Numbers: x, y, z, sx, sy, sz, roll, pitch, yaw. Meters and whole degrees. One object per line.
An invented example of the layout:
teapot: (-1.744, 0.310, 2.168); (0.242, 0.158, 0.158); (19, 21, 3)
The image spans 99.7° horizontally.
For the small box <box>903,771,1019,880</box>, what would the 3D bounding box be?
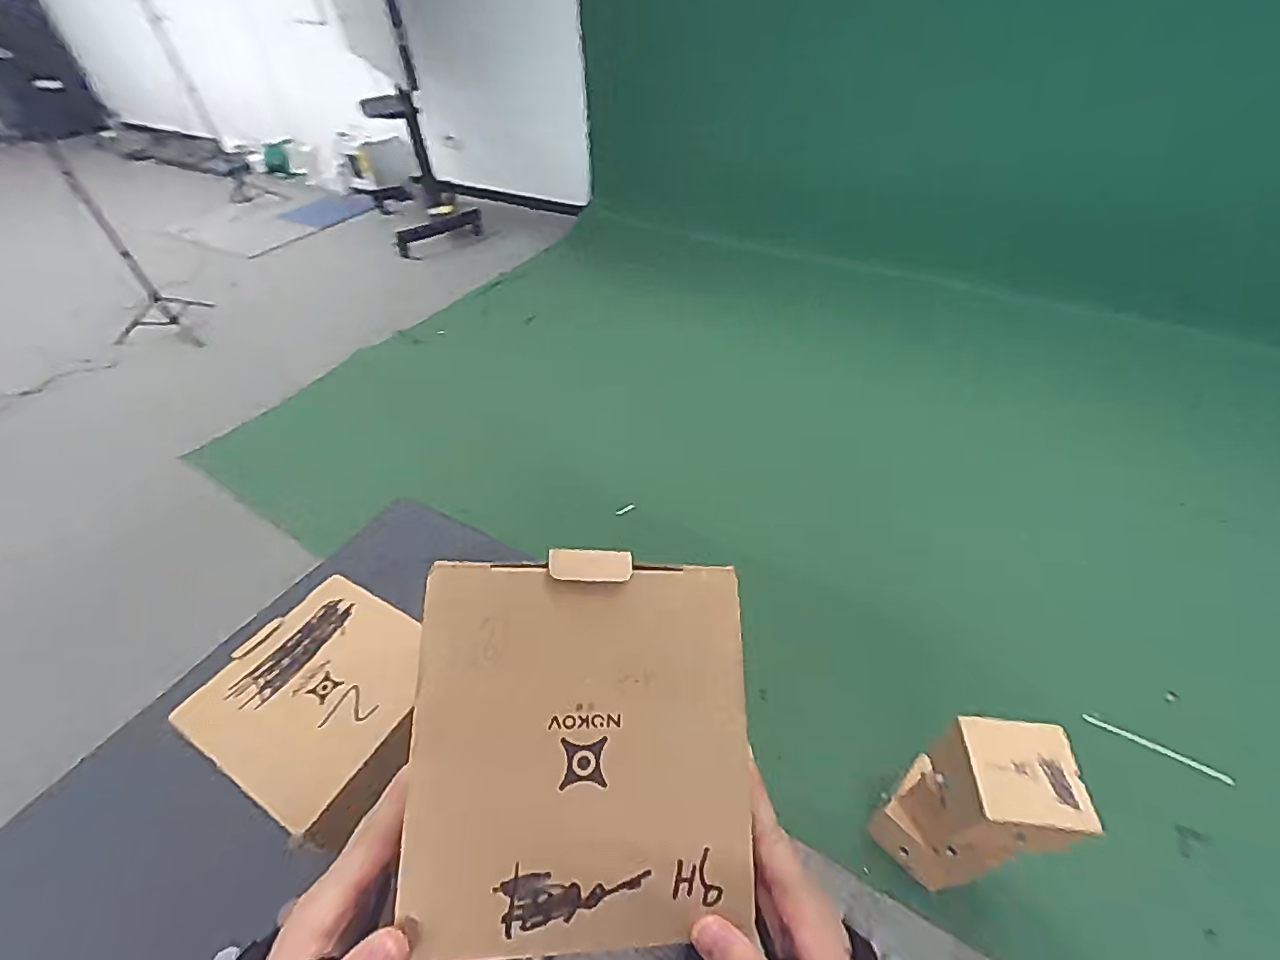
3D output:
small box: (0.656, 0.661, 1.078); (0.179, 0.176, 0.168); (-17, 49, -16)

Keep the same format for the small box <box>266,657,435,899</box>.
small box: (-0.263, 0.344, 0.620); (0.179, 0.176, 0.168); (20, 49, 22)

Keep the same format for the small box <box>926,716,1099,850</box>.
small box: (0.645, 0.542, 0.964); (0.179, 0.176, 0.168); (3, 47, 6)

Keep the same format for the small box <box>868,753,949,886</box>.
small box: (0.635, 0.761, 1.208); (0.179, 0.176, 0.168); (-35, 54, -29)

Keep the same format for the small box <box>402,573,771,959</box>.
small box: (-0.032, 0.156, 0.334); (0.168, 0.176, 0.179); (3, 75, -9)
